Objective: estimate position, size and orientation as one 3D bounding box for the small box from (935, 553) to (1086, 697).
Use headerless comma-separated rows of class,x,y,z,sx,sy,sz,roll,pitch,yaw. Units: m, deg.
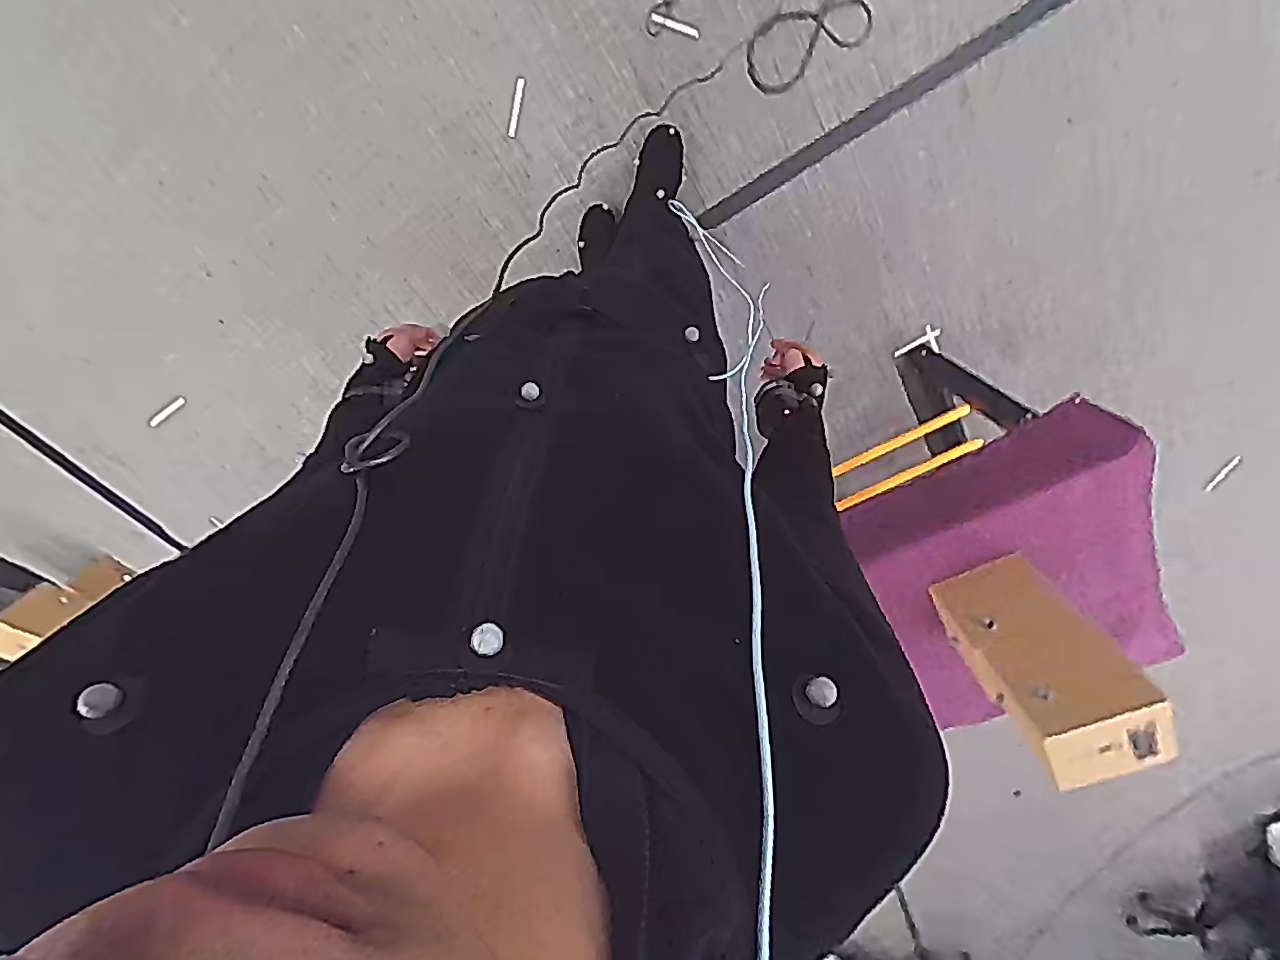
small box,0.688,0.271,1.025,0.179,0.176,0.168,-26,119,14
